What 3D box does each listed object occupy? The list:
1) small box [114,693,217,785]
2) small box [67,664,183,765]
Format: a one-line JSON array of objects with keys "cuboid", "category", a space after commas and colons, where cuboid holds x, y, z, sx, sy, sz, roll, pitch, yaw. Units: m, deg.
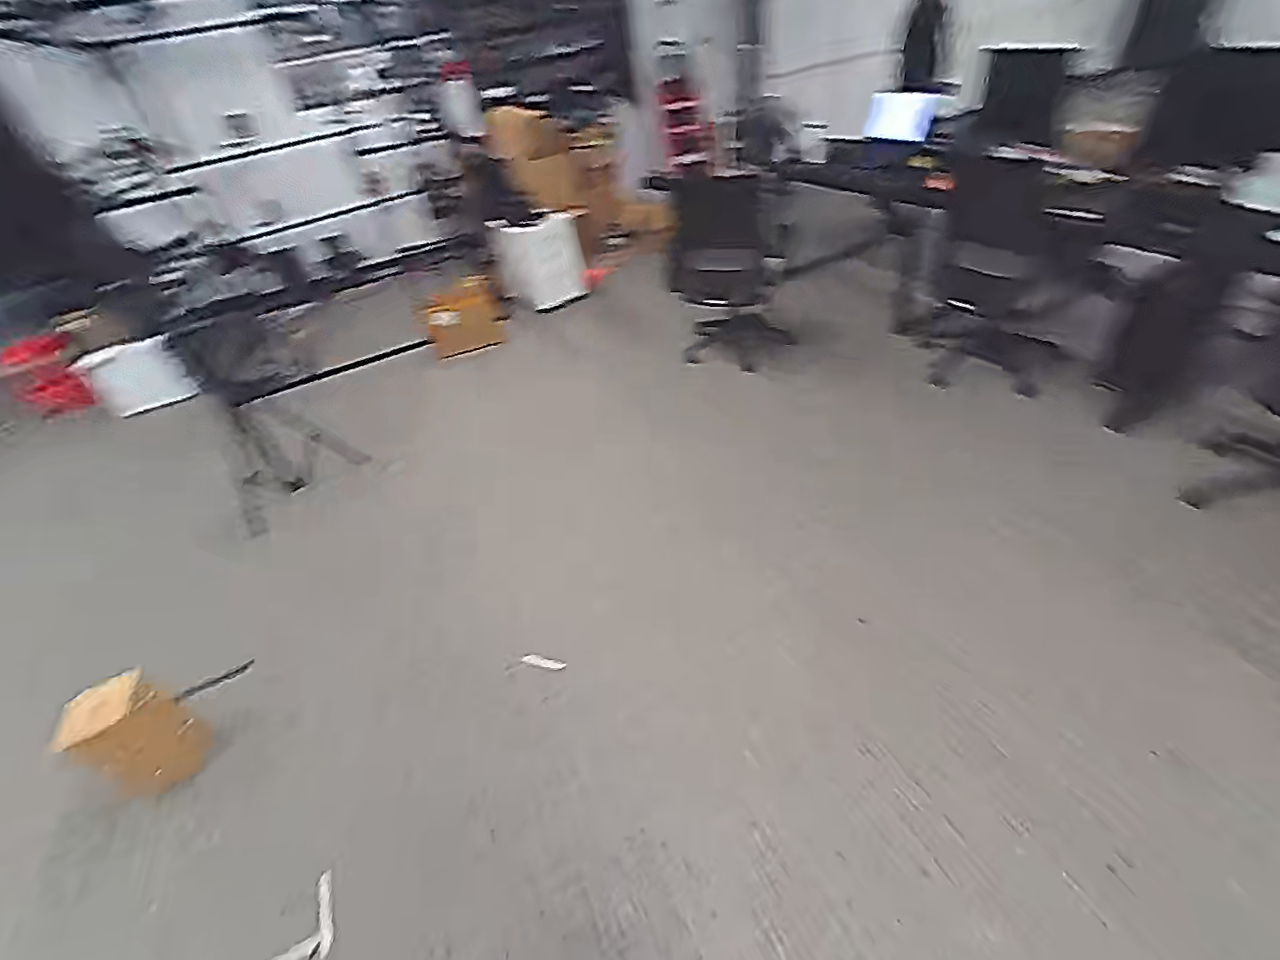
[{"cuboid": [-1.449, 0.804, 1.666, 0.168, 0.176, 0.179, -25, 41, -17], "category": "small box"}, {"cuboid": [-1.475, 0.679, 1.564, 0.168, 0.176, 0.179, -24, 42, -15], "category": "small box"}]
